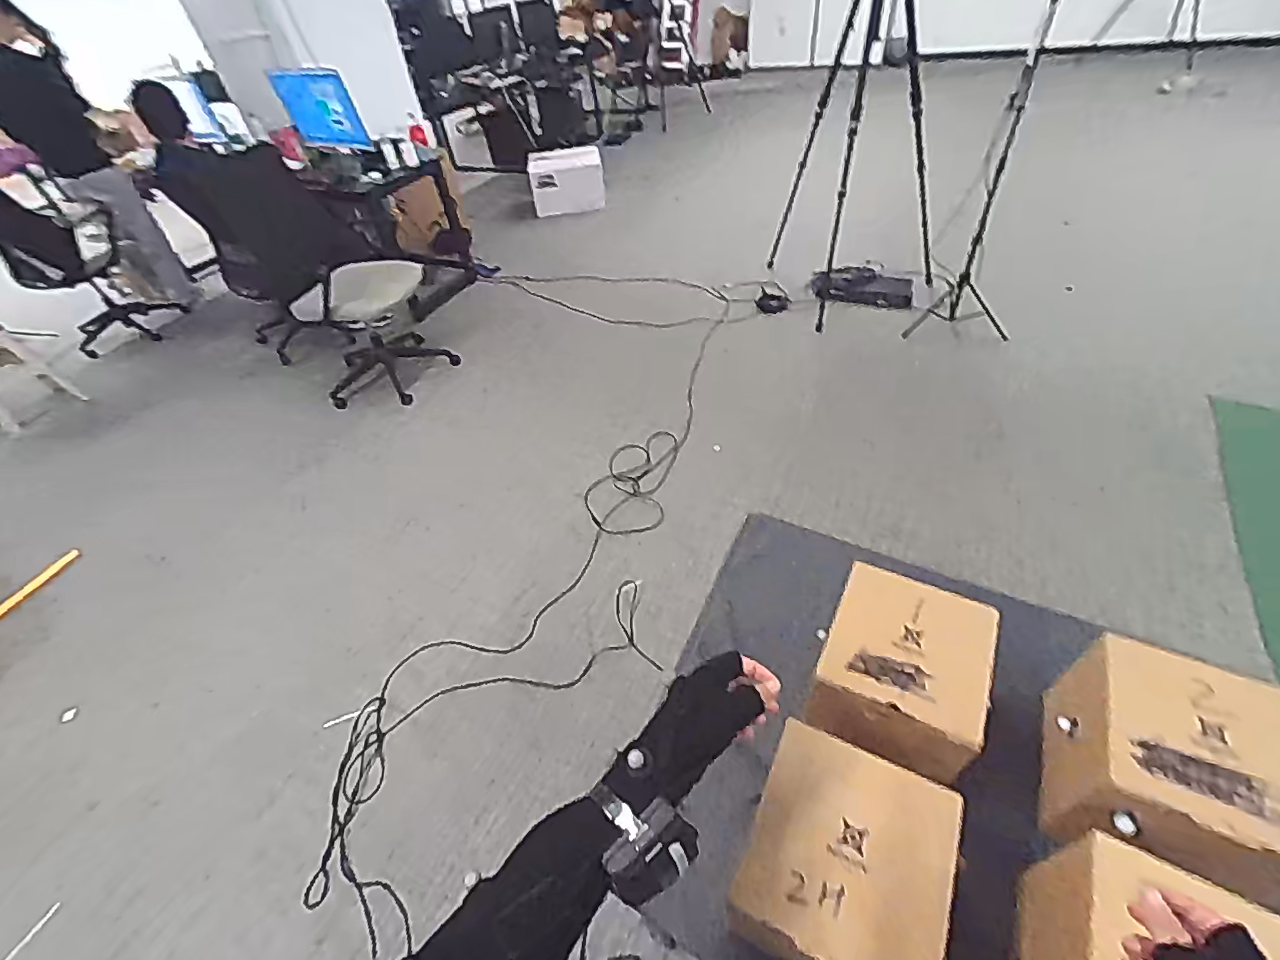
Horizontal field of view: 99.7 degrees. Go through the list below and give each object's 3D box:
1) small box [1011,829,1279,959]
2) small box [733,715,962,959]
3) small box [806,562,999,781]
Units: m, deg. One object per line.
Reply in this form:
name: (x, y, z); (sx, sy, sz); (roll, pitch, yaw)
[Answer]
small box: (0.431, 0.444, 0.450); (0.168, 0.176, 0.179); (20, 50, 25)
small box: (0.197, 0.381, 0.543); (0.168, 0.176, 0.179); (17, 50, 24)
small box: (0.315, 0.241, 0.672); (0.168, 0.176, 0.179); (19, 50, 25)
